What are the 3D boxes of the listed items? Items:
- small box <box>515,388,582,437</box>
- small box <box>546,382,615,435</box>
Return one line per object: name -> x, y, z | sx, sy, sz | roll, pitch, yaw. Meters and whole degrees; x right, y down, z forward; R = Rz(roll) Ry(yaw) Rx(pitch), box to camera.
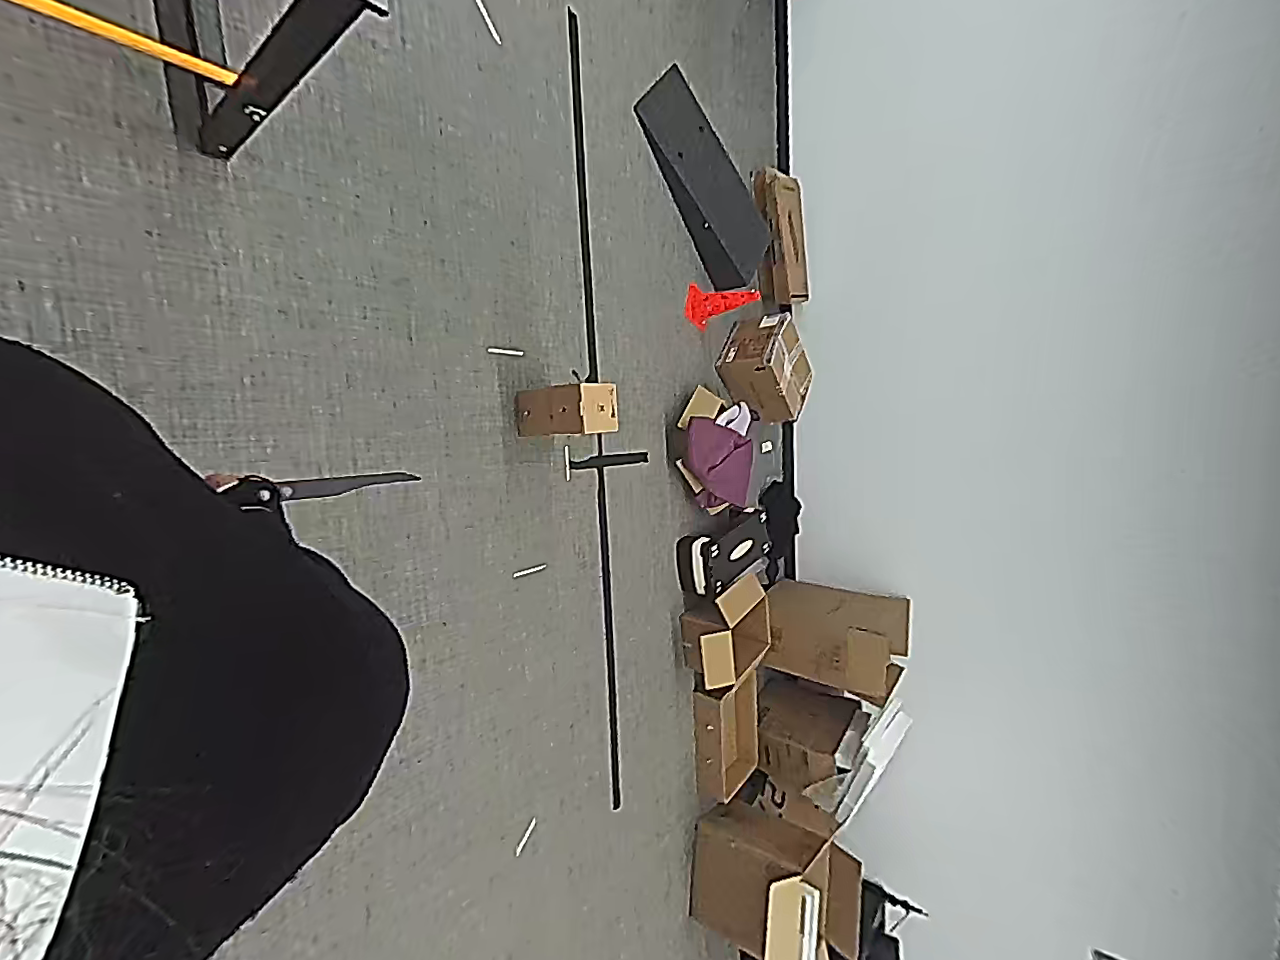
small box -> -0.332, -0.242, 1.958 | 0.179, 0.176, 0.168 | -8, 98, -52
small box -> -0.210, -0.242, 1.848 | 0.179, 0.176, 0.168 | -11, 100, -51
